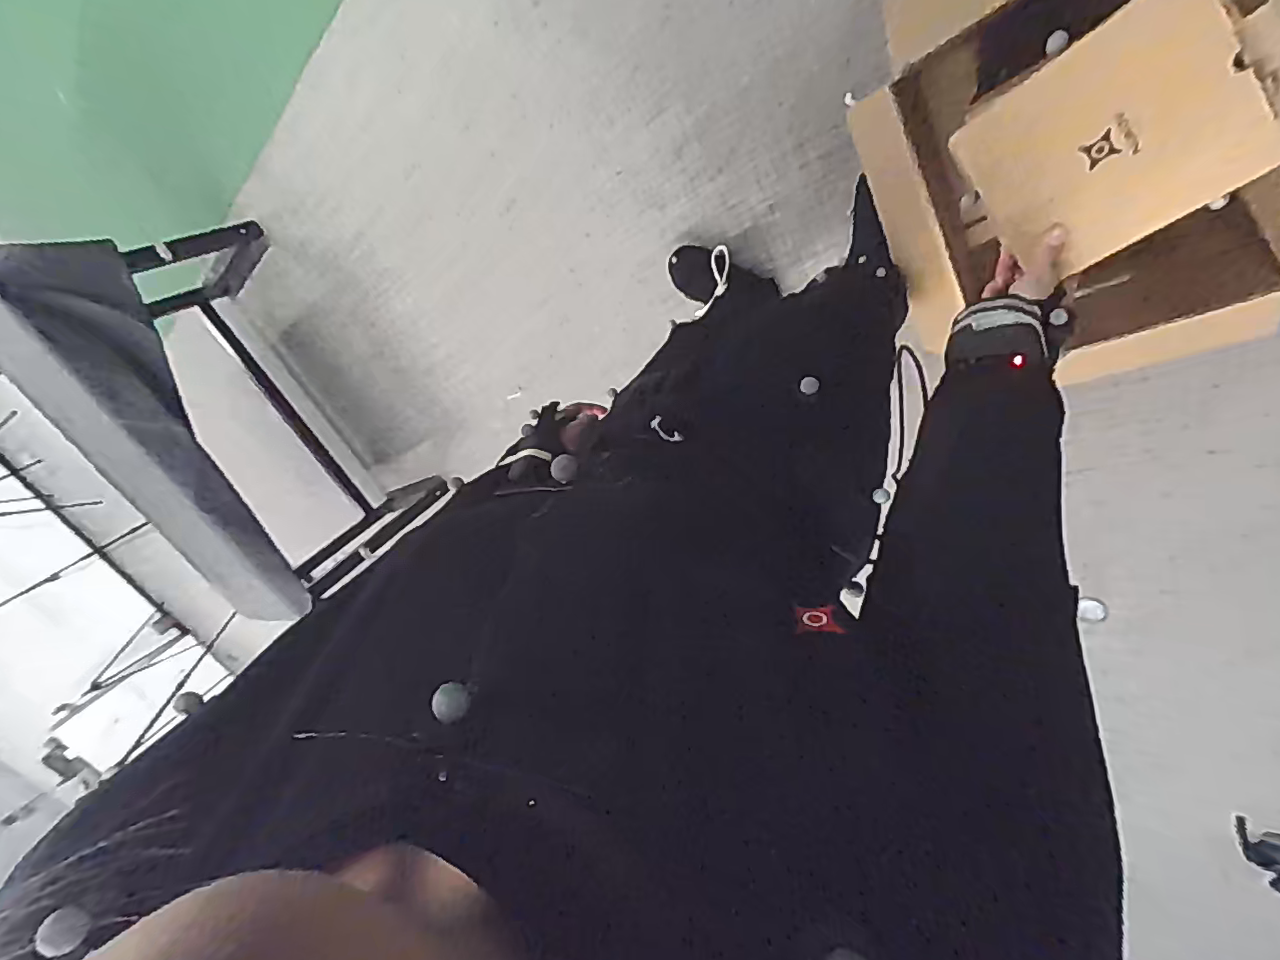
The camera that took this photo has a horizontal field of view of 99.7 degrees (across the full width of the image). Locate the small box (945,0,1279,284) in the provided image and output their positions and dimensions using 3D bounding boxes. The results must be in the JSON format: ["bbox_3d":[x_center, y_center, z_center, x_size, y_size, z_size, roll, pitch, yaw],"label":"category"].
[{"bbox_3d":[0.413,-0.311,0.503,0.179,0.176,0.168,-31,98,35],"label":"small box"}]
